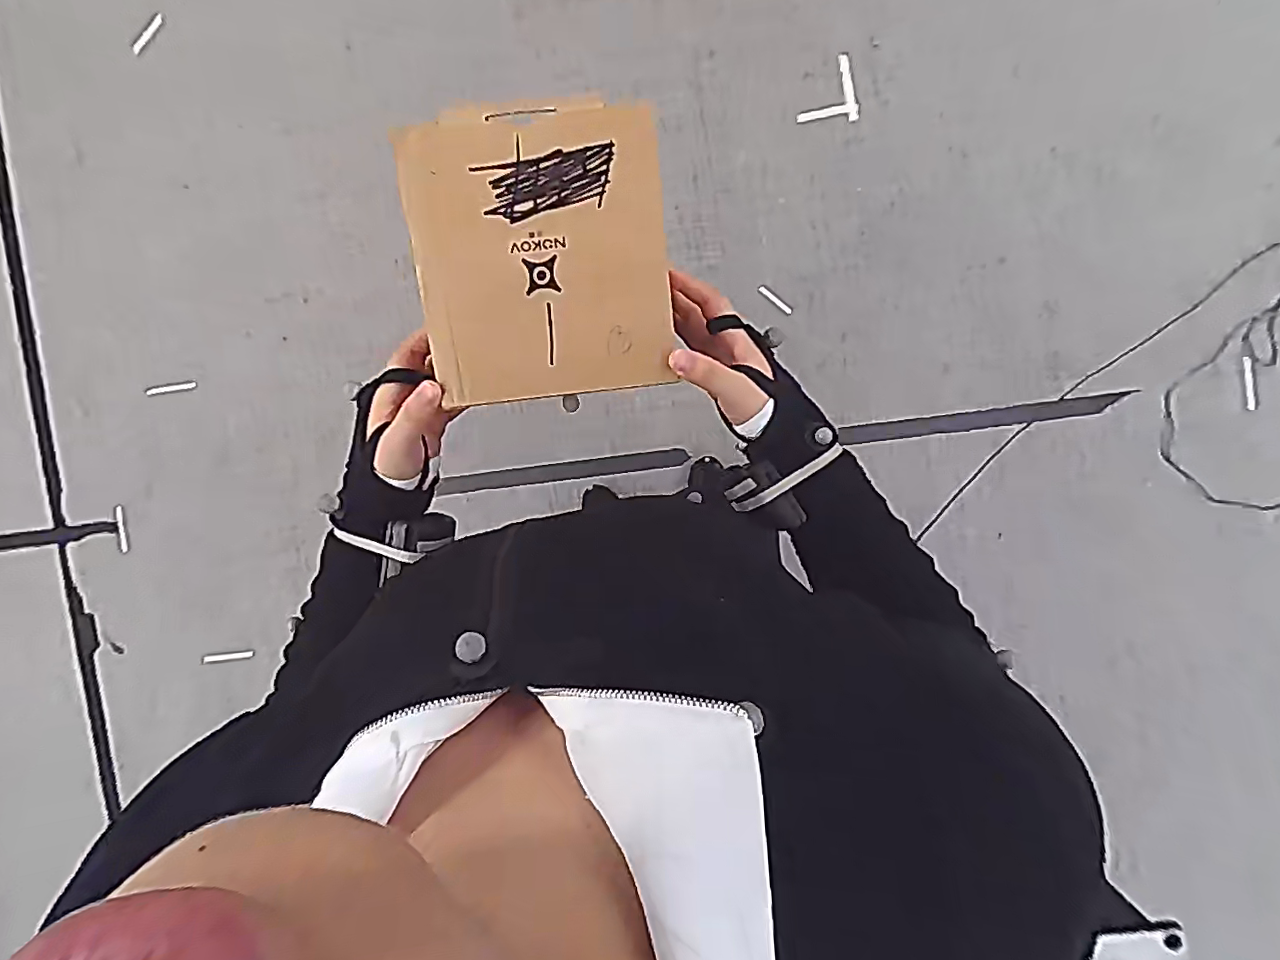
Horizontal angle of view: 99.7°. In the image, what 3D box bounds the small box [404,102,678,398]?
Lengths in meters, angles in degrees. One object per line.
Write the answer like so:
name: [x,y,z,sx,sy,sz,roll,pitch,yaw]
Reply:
small box: [-0.063,-0.162,0.435,0.168,0.176,0.179,-6,102,0]
